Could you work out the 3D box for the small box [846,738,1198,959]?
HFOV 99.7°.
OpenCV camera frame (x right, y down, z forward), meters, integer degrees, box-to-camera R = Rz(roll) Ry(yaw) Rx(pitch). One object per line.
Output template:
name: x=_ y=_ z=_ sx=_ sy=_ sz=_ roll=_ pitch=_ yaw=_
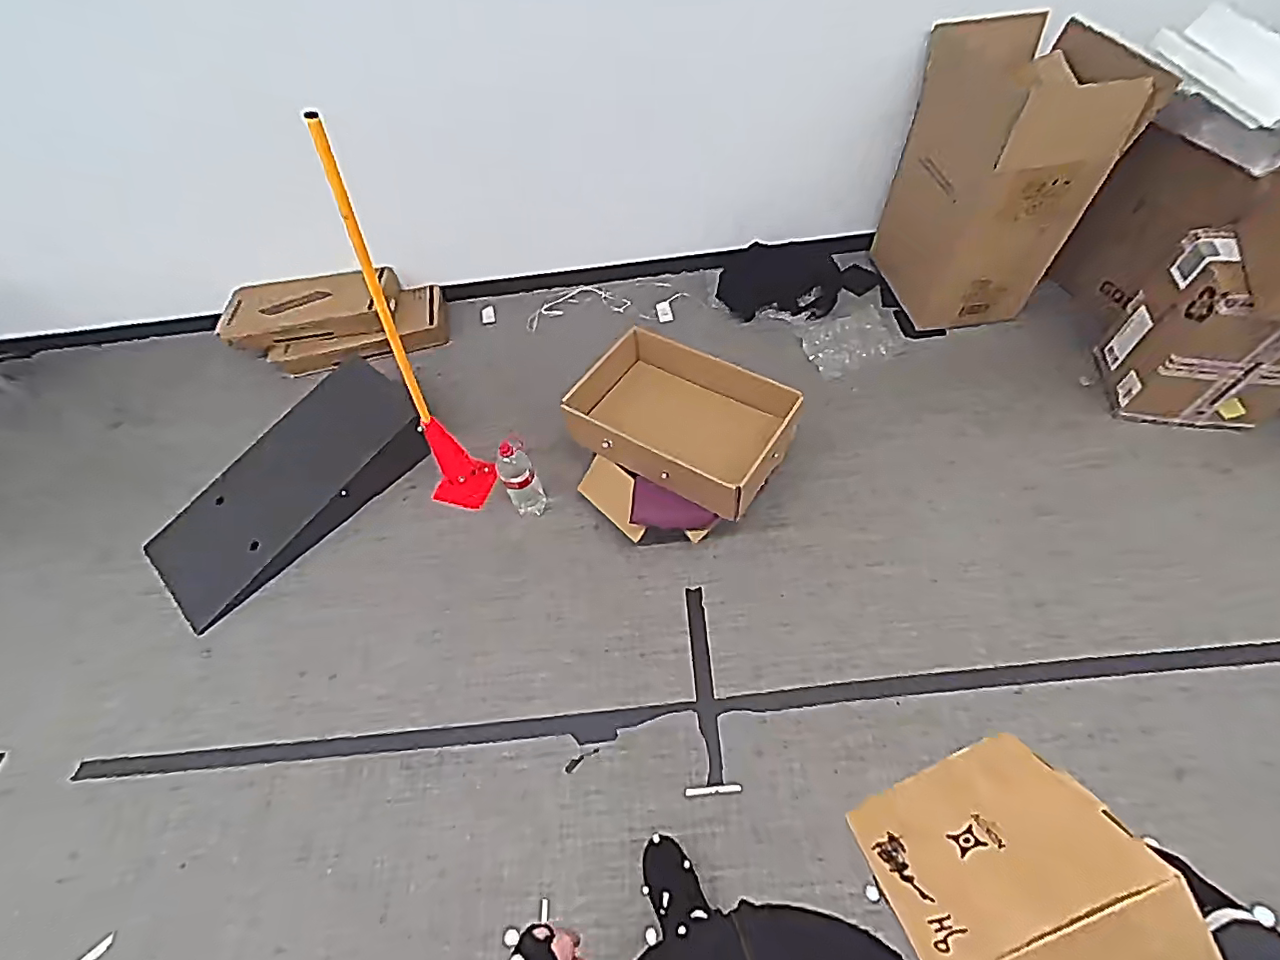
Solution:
small box: x=0.312 y=0.364 z=0.450 sx=0.179 sy=0.168 sz=0.176 roll=-27 pitch=94 yaw=2
